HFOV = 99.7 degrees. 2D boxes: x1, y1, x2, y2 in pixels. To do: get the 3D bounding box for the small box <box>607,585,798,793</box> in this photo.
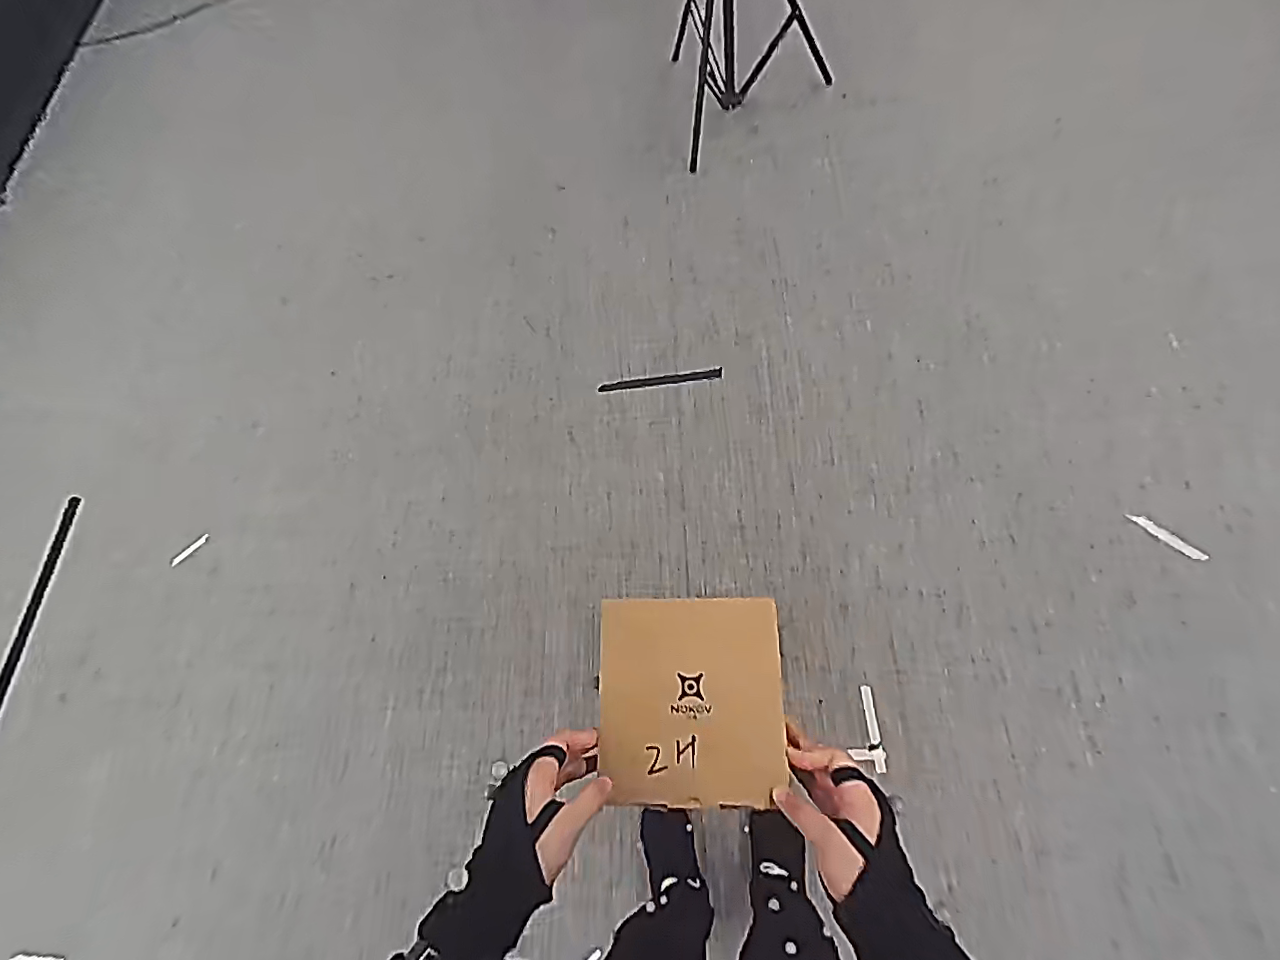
[{"bbox_3d":[0.058,0.211,0.563,0.168,0.176,0.179,-2,71,4],"label":"small box"}]
